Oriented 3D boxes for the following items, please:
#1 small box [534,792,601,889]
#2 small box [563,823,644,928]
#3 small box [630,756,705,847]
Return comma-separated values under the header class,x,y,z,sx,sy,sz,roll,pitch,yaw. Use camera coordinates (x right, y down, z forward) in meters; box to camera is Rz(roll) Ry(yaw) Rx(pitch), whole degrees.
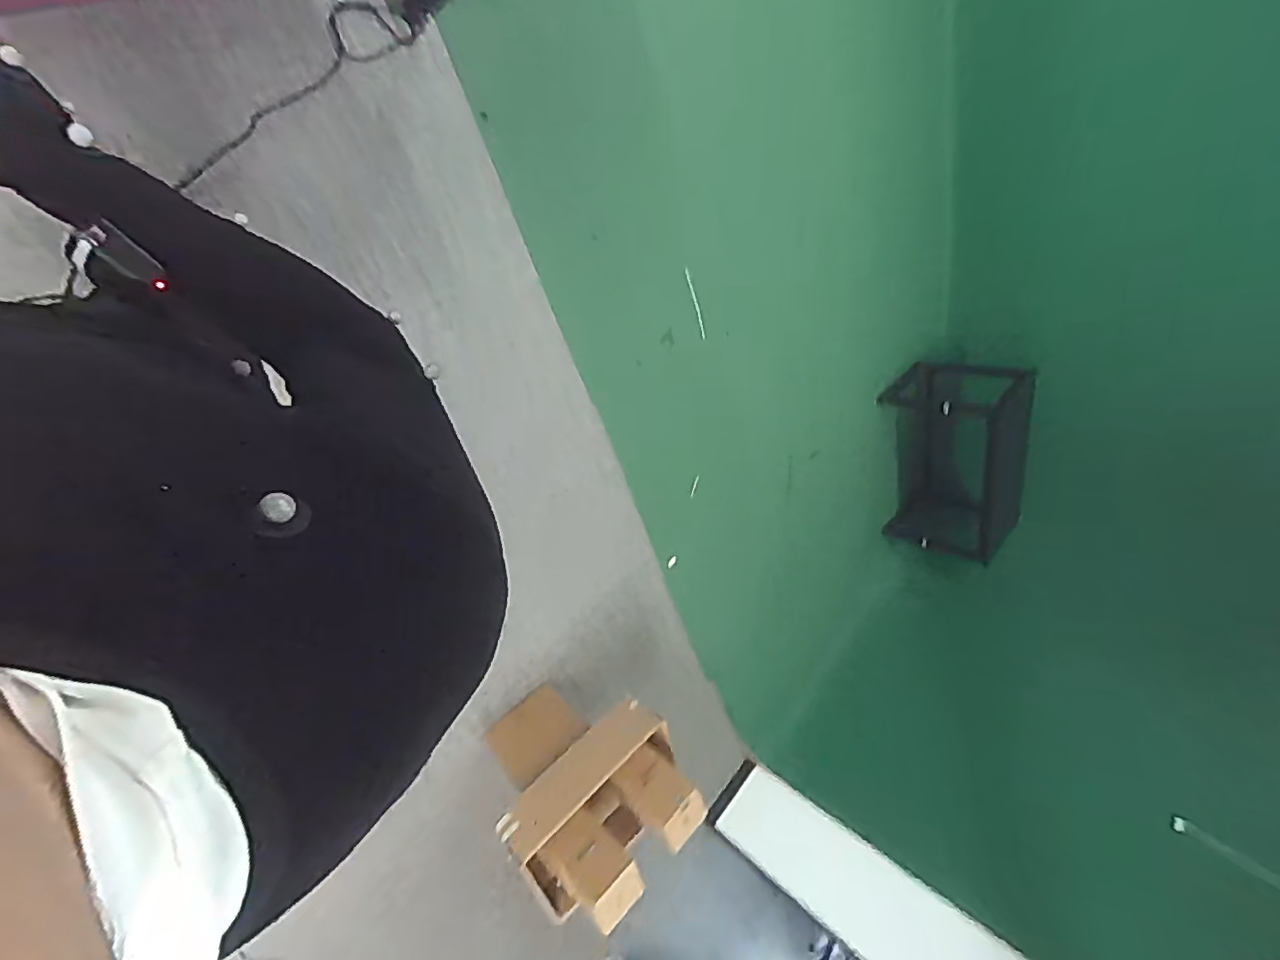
class,x,y,z,sx,sy,sz,roll,pitch,yaw
small box,-0.228,1.189,1.797,0.168,0.176,0.179,-31,122,-34
small box,-0.114,1.223,1.685,0.168,0.176,0.179,-32,123,-33
small box,0.093,1.085,1.838,0.168,0.176,0.179,-38,127,-30
